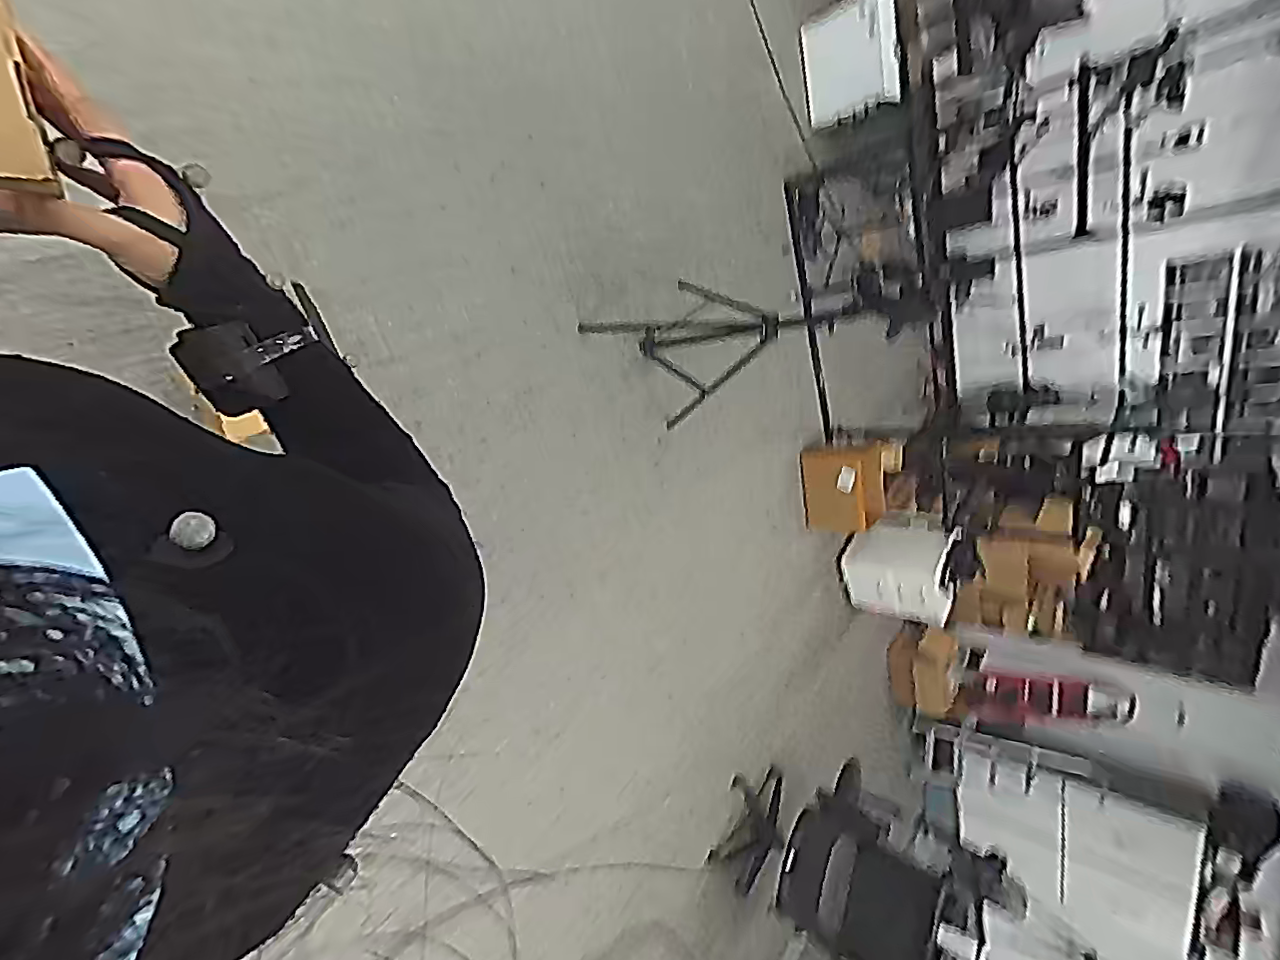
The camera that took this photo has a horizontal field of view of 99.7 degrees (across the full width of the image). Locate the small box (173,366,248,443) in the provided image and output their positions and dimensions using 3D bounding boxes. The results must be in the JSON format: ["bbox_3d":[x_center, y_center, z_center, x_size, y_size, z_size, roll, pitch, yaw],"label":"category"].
[{"bbox_3d":[-0.869,-0.186,1.172,0.179,0.176,0.168,-35,117,-39],"label":"small box"}]

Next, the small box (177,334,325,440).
[{"bbox_3d":[-0.758,-0.182,1.053,0.179,0.176,0.168,-27,111,-41],"label":"small box"}]
